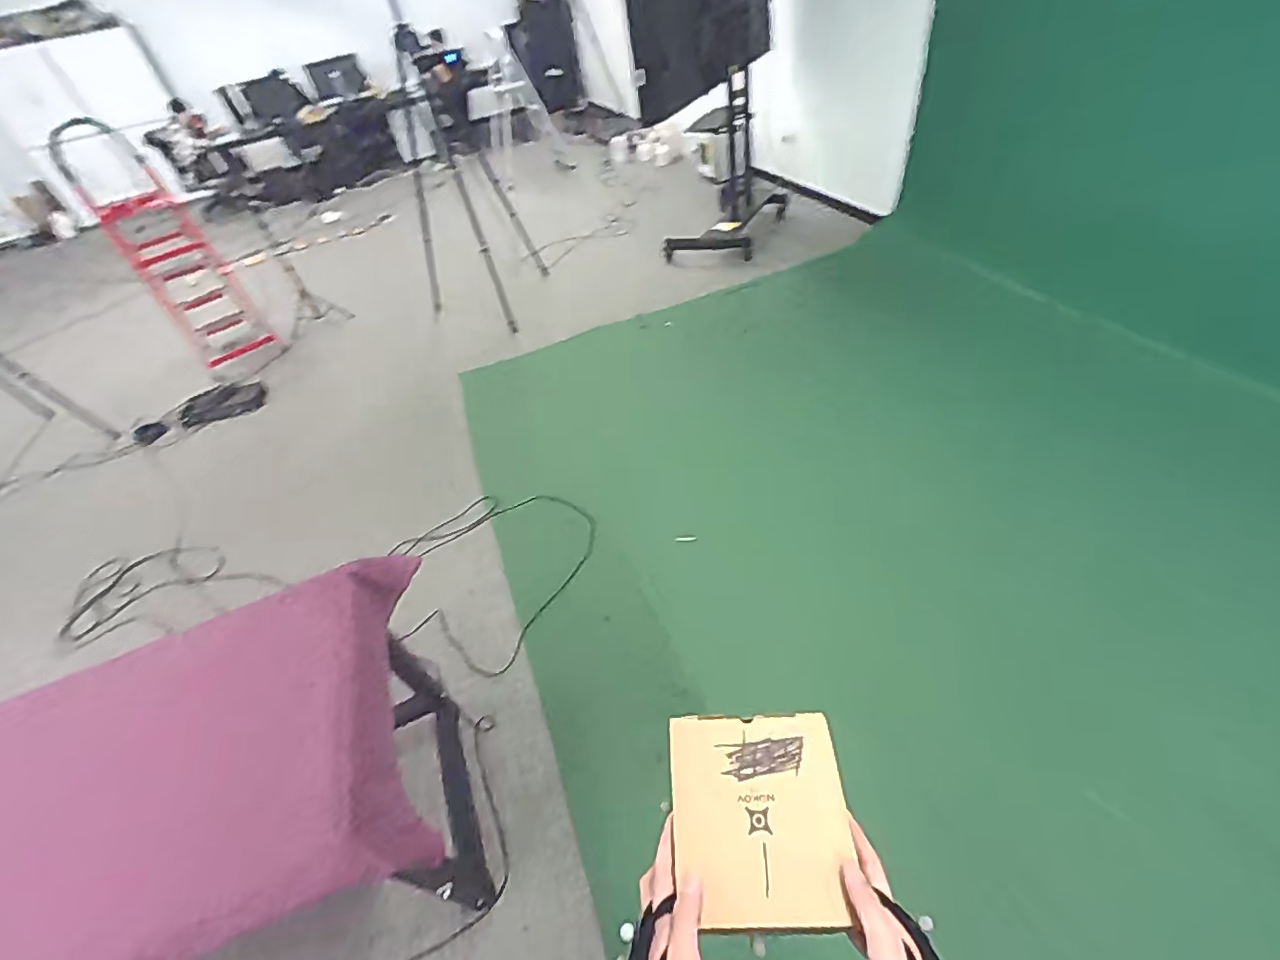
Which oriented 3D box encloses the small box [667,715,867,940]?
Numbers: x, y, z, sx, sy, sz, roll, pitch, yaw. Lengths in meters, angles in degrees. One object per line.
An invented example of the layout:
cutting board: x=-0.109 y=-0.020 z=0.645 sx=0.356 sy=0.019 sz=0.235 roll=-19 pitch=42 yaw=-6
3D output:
small box: x=0.114 y=0.366 z=0.570 sx=0.168 sy=0.176 sz=0.179 roll=-4 pitch=49 yaw=3
